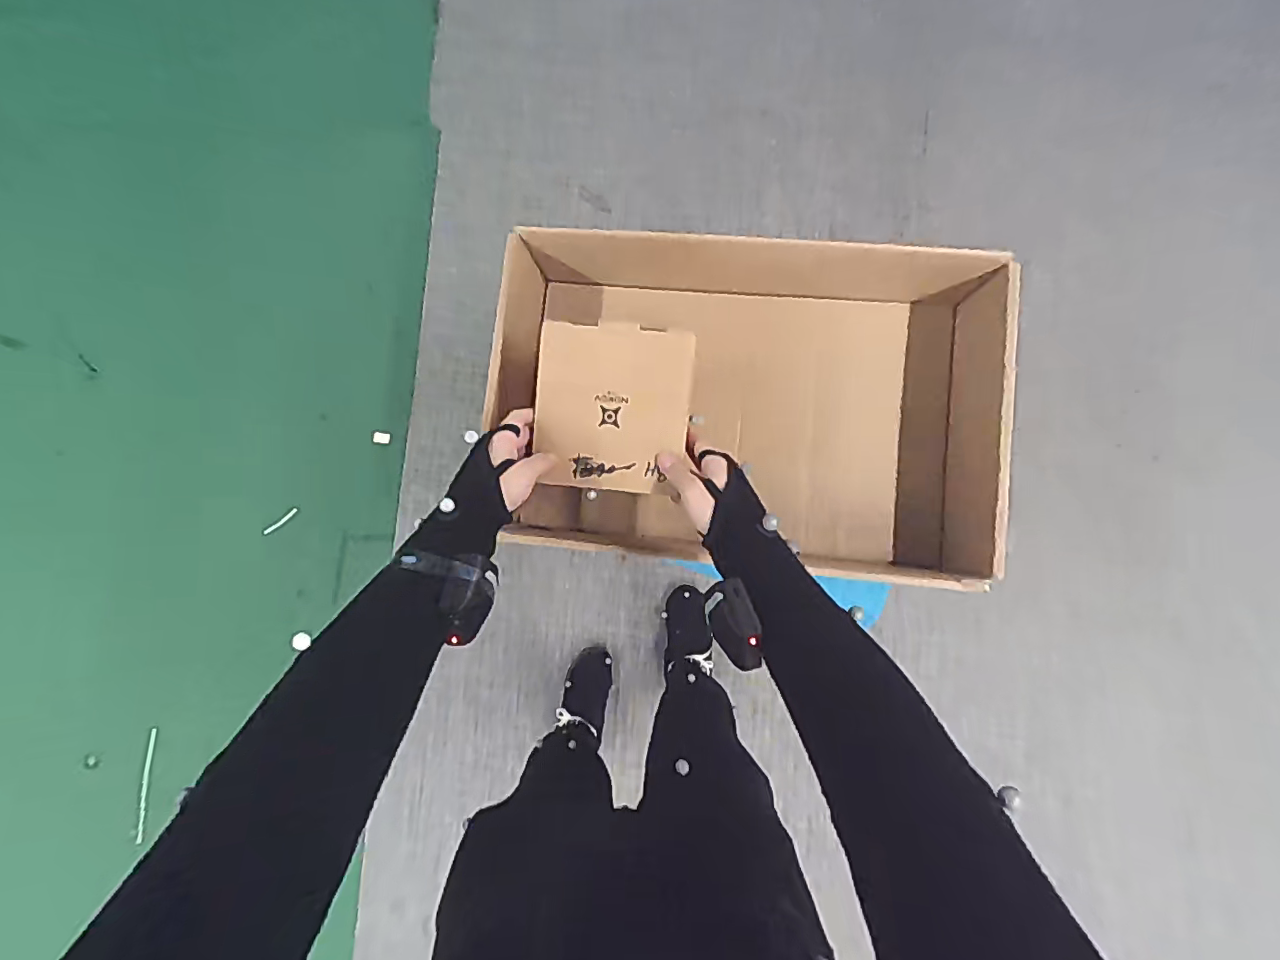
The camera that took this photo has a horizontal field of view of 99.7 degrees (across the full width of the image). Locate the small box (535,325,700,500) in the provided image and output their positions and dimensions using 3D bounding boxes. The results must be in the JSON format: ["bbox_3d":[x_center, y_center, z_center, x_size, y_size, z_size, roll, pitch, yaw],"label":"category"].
[{"bbox_3d":[-0.018,-0.076,0.658,0.168,0.176,0.179,6,93,6],"label":"small box"}]
